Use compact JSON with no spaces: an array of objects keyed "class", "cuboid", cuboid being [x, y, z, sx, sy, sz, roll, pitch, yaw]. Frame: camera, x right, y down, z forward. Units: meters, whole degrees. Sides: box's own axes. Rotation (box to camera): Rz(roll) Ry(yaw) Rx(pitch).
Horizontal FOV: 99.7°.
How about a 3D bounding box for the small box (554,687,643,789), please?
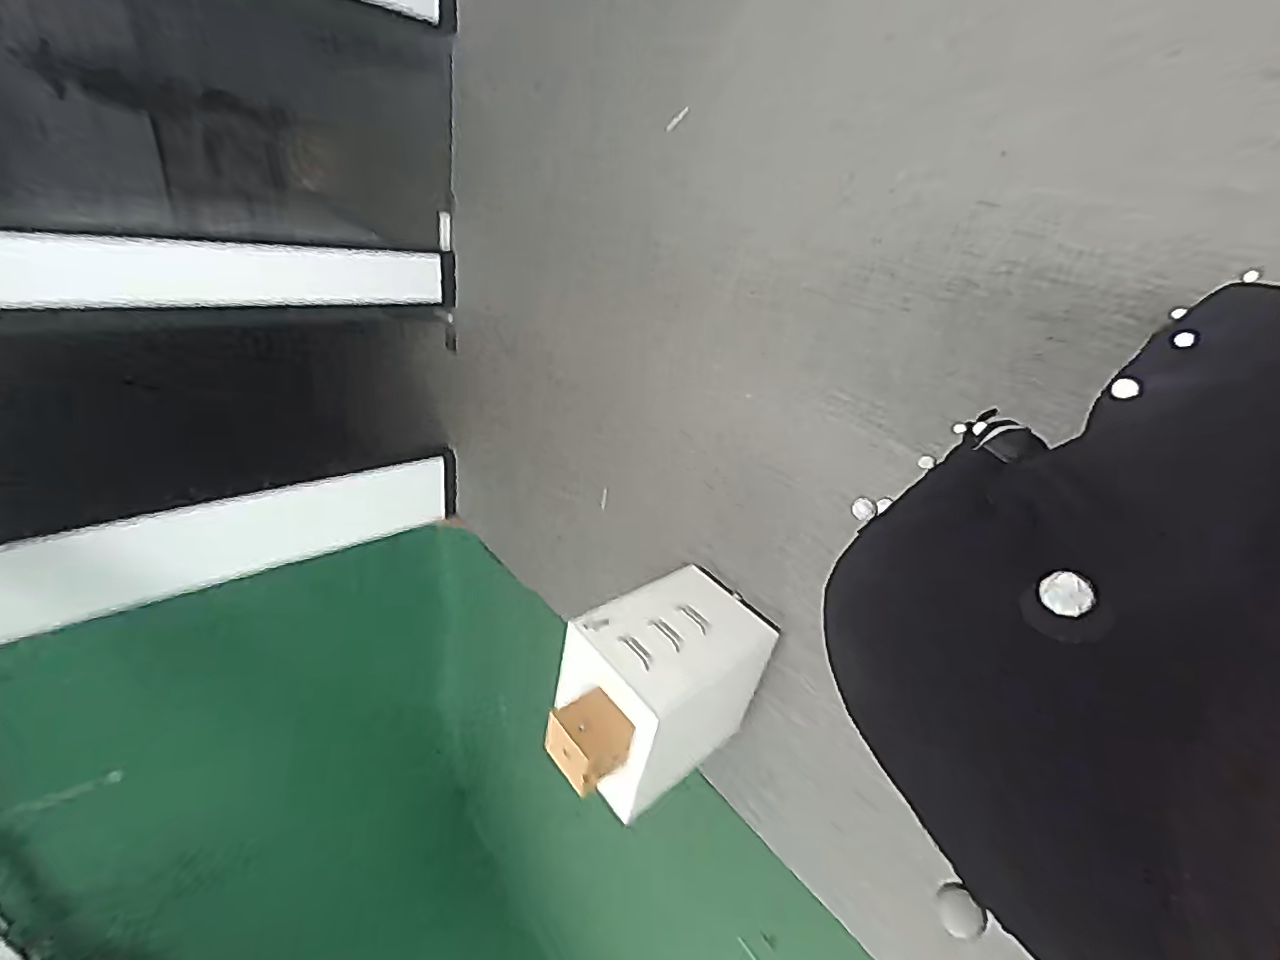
[{"class":"small box","cuboid":[-0.120,0.714,1.526,0.179,0.176,0.168,35,127,37]}]
